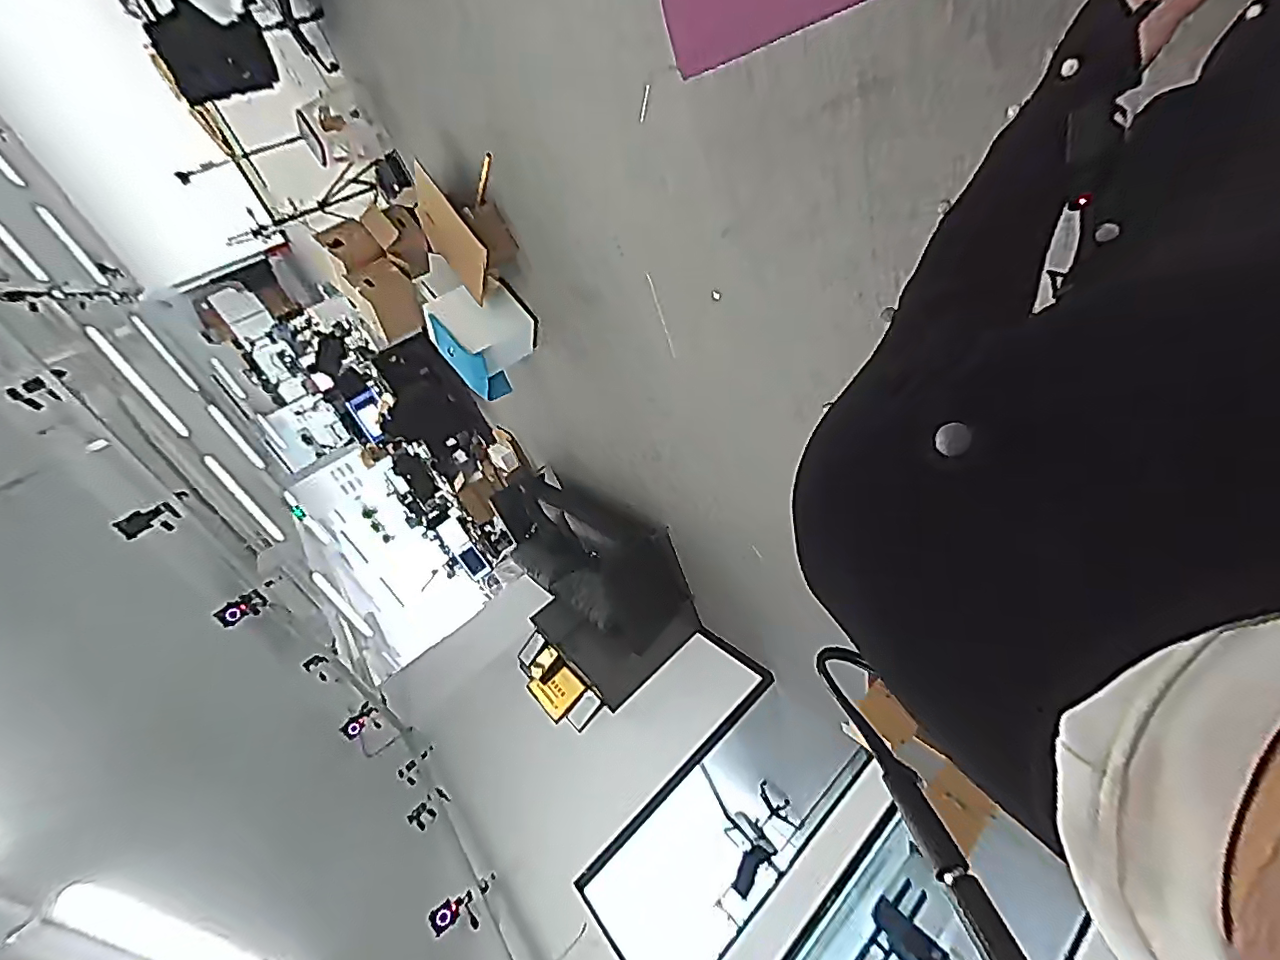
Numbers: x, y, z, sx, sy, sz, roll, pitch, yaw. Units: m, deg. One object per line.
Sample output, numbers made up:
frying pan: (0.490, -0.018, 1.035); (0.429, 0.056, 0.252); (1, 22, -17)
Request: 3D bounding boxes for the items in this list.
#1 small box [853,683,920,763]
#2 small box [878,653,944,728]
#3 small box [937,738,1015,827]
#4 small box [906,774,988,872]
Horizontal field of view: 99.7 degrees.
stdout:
small box: (0.905, 0.887, 1.988); (0.168, 0.176, 0.179); (31, 148, 45)
small box: (1.029, 0.802, 2.056); (0.168, 0.176, 0.179); (29, 147, 46)
small box: (1.091, 0.992, 1.770); (0.168, 0.176, 0.179); (30, 148, 43)
small box: (0.969, 1.080, 1.708); (0.168, 0.176, 0.179); (29, 147, 44)
